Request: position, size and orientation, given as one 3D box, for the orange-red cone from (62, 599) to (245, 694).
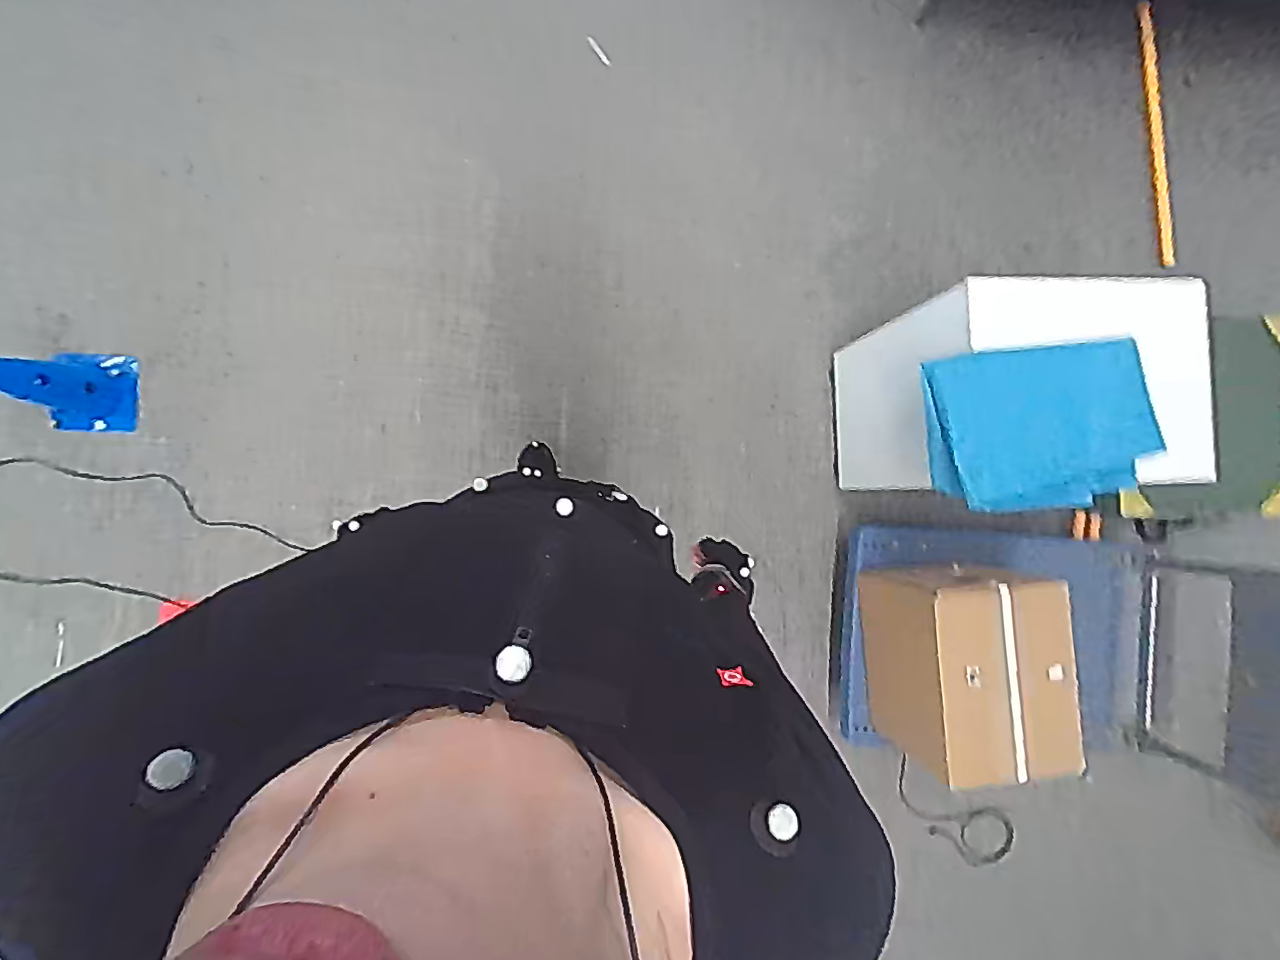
[{"bbox_3d":[-1.120,0.406,1.222,0.199,0.360,0.198,8,87,-5],"label":"orange-red cone"}]
